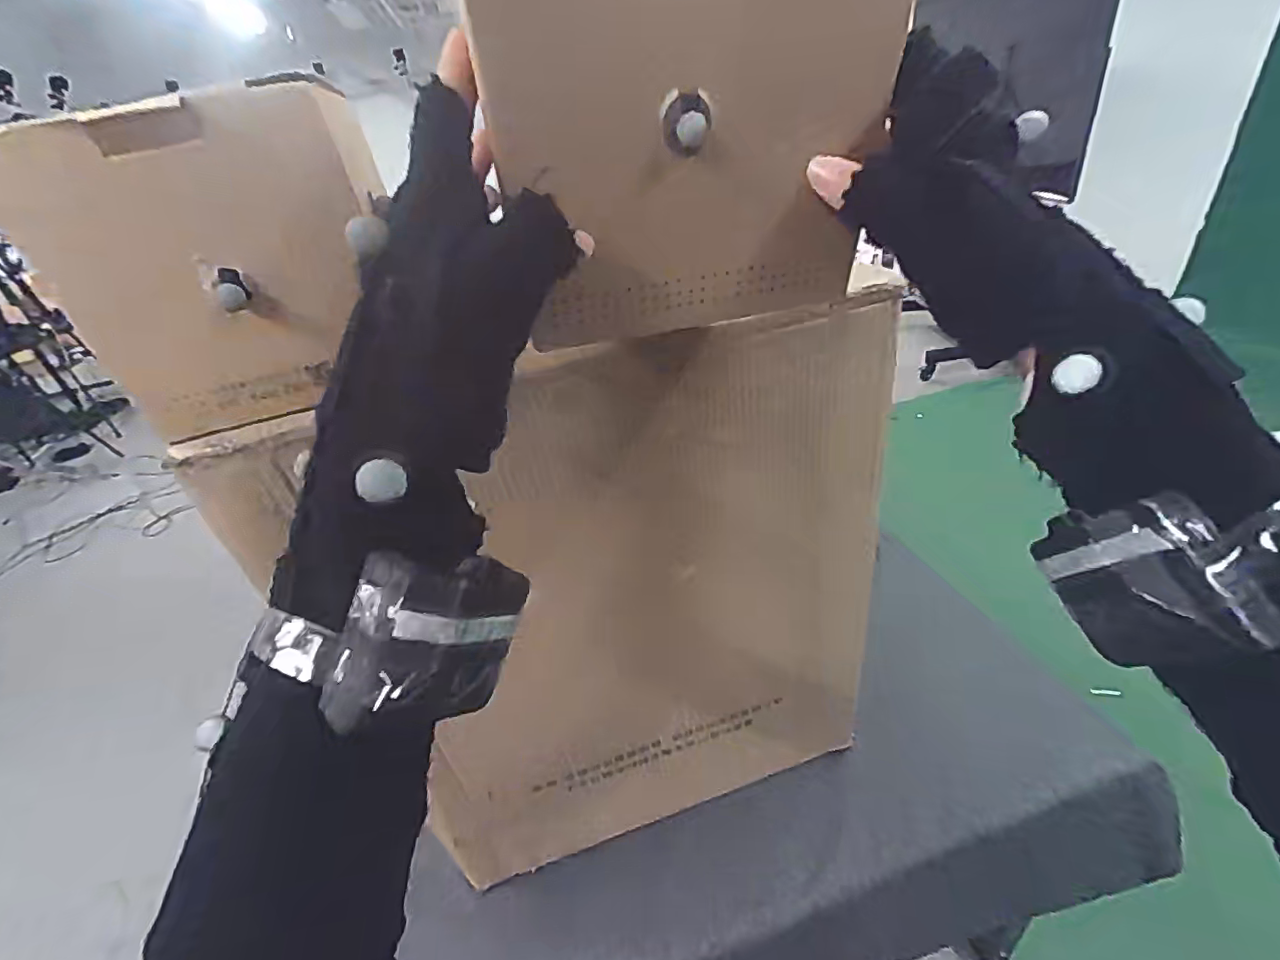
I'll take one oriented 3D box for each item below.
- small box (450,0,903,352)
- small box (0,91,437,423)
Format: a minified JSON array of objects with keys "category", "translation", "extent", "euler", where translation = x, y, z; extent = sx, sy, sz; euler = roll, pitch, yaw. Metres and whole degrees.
[{"category":"small box","translation":[0.007,-0.192,0.295],"extent":[0.179,0.176,0.168],"euler":[-12,45,-5]},{"category":"small box","translation":[-0.253,-0.154,0.380],"extent":[0.168,0.176,0.179],"euler":[-16,35,-9]}]
